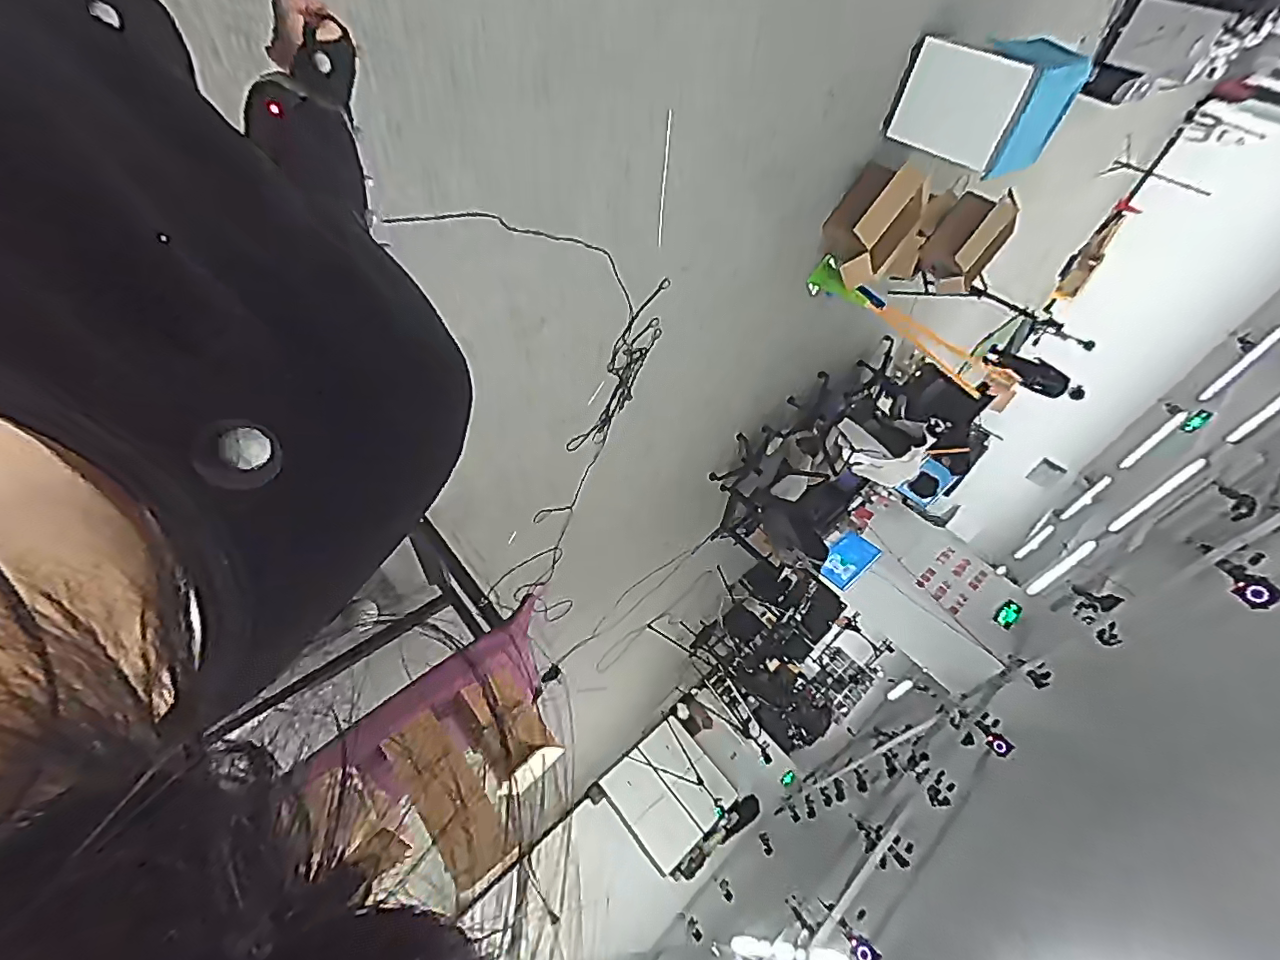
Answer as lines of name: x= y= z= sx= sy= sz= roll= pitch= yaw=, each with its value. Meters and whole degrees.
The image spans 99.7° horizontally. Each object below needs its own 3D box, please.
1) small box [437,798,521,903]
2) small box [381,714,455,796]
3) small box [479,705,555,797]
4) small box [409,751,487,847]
small box: x=-0.465 y=1.061 z=1.552 sx=0.179 sy=0.176 sz=0.168 roll=-30 pitch=150 yaw=-29
small box: x=-0.686 y=0.870 z=1.701 sx=0.168 sy=0.176 sz=0.179 roll=-31 pitch=150 yaw=-29
small box: x=-0.407 y=0.882 z=1.769 sx=0.179 sy=0.176 sz=0.168 roll=-24 pitch=145 yaw=-40
small box: x=-0.572 y=0.960 z=1.624 sx=0.179 sy=0.176 sz=0.168 roll=-31 pitch=151 yaw=-29
